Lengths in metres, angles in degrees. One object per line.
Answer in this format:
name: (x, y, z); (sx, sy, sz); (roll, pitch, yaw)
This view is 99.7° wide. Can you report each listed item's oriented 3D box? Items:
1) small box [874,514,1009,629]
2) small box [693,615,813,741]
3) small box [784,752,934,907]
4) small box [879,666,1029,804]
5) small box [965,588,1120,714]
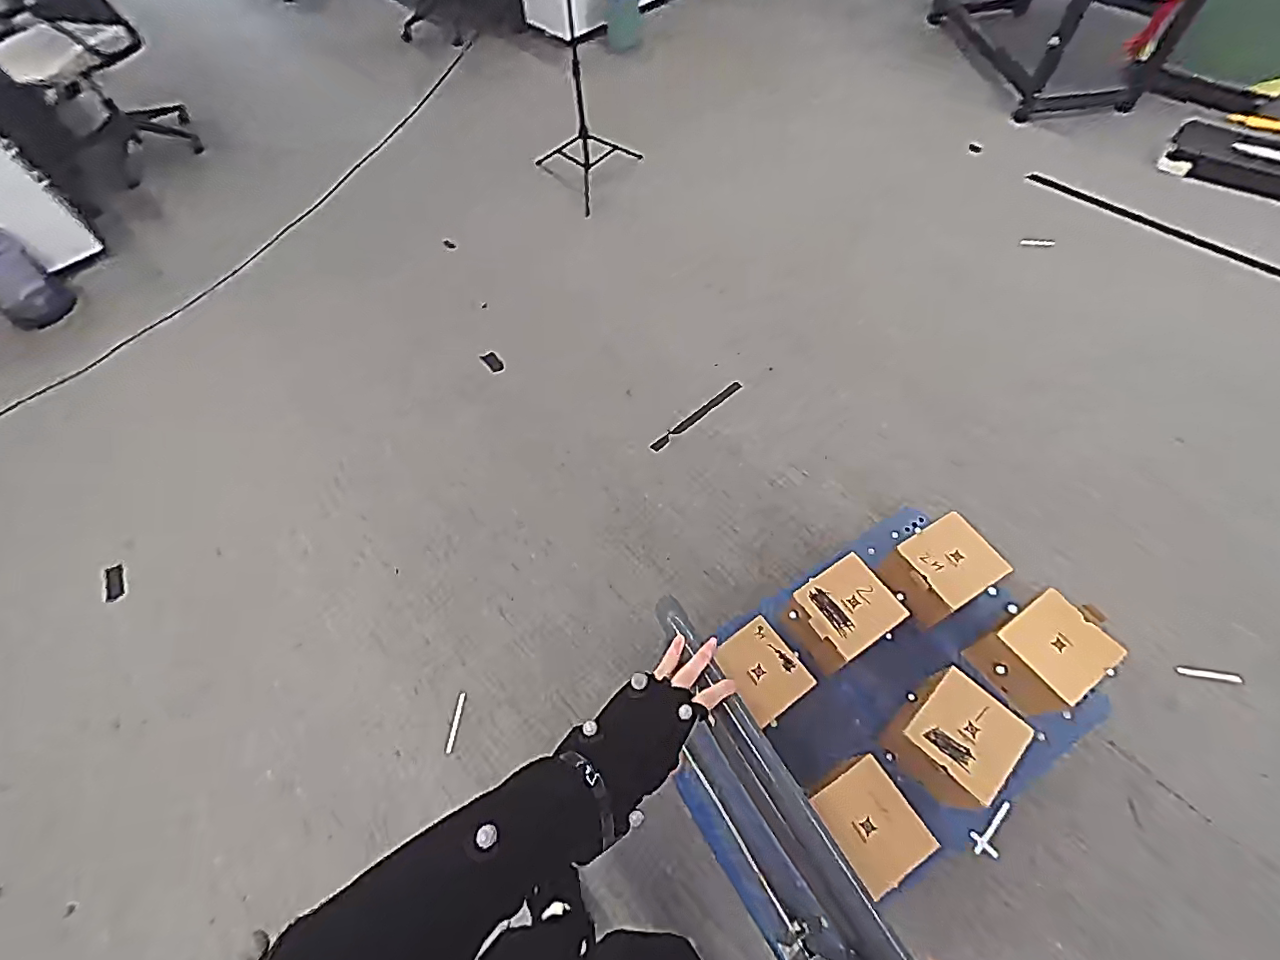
small box: (0.668, 0.210, 1.223); (0.179, 0.176, 0.168); (-27, 61, -12)
small box: (0.224, 0.416, 1.122); (0.179, 0.176, 0.168); (-32, 64, -15)
small box: (0.383, 0.630, 0.989); (0.179, 0.176, 0.168); (-28, 62, -14)
small box: (0.596, 0.501, 1.055); (0.179, 0.176, 0.168); (-39, 65, -20)
small box: (0.820, 0.363, 1.128); (0.179, 0.176, 0.168); (-31, 62, -15)
